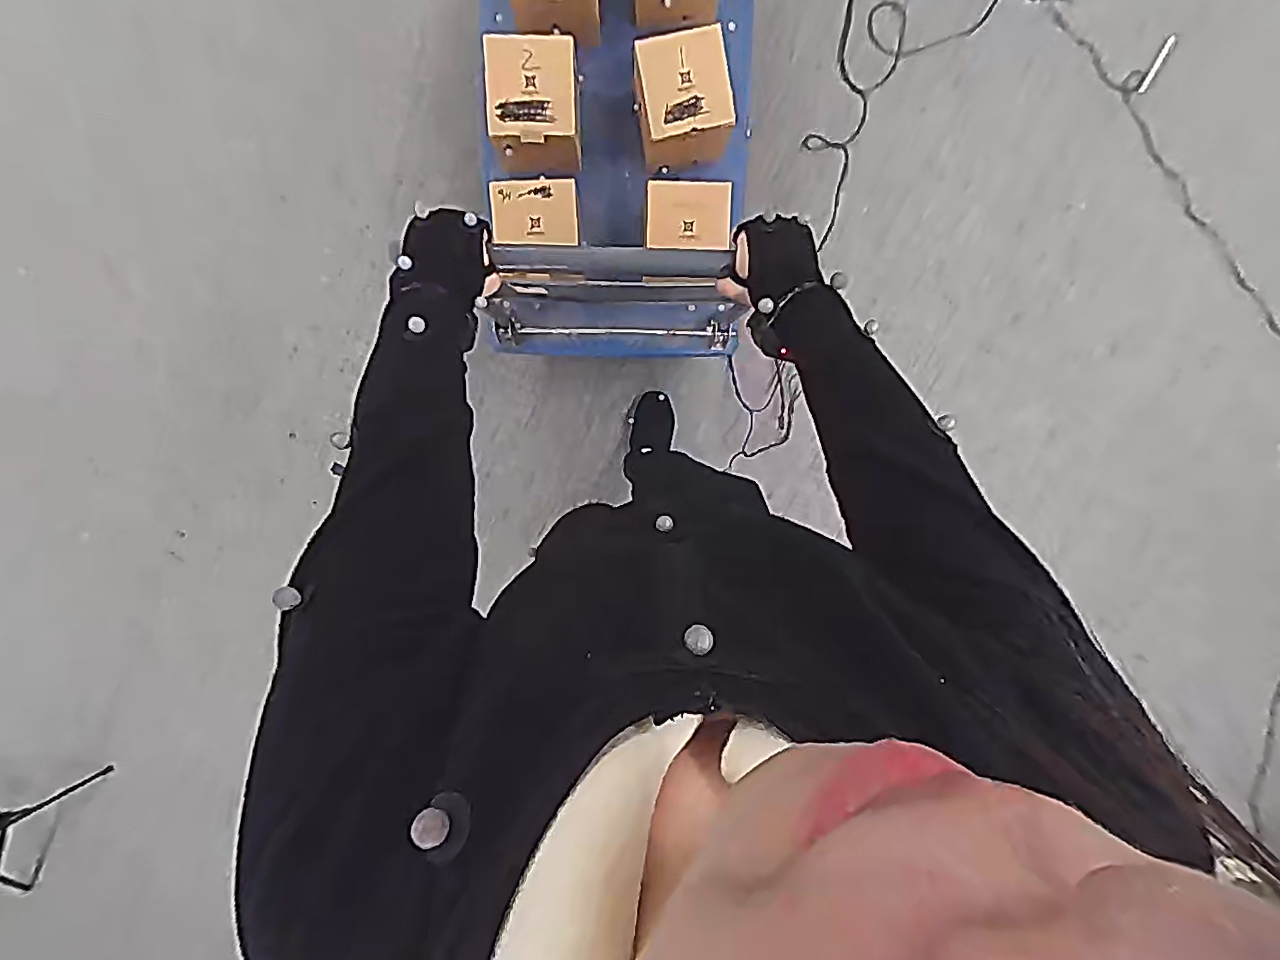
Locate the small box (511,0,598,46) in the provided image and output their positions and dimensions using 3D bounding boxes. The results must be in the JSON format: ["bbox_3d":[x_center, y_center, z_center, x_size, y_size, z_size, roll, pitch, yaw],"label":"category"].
[{"bbox_3d":[-0.168,-0.997,1.049,0.168,0.176,0.179,2,100,-2],"label":"small box"}]

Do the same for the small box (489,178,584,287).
[{"bbox_3d":[-0.208,-0.505,1.128,0.168,0.176,0.179,-3,100,-2],"label":"small box"}]

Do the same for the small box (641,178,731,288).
[{"bbox_3d":[0.090,-0.510,1.140,0.168,0.176,0.179,1,99,-3],"label":"small box"}]

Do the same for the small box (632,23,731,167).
[{"bbox_3d":[0.079,-0.764,1.098,0.168,0.176,0.179,-12,98,0],"label":"small box"}]

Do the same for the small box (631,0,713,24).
[{"bbox_3d":[0.065,-1.033,1.054,0.168,0.176,0.179,-3,99,-1],"label":"small box"}]
